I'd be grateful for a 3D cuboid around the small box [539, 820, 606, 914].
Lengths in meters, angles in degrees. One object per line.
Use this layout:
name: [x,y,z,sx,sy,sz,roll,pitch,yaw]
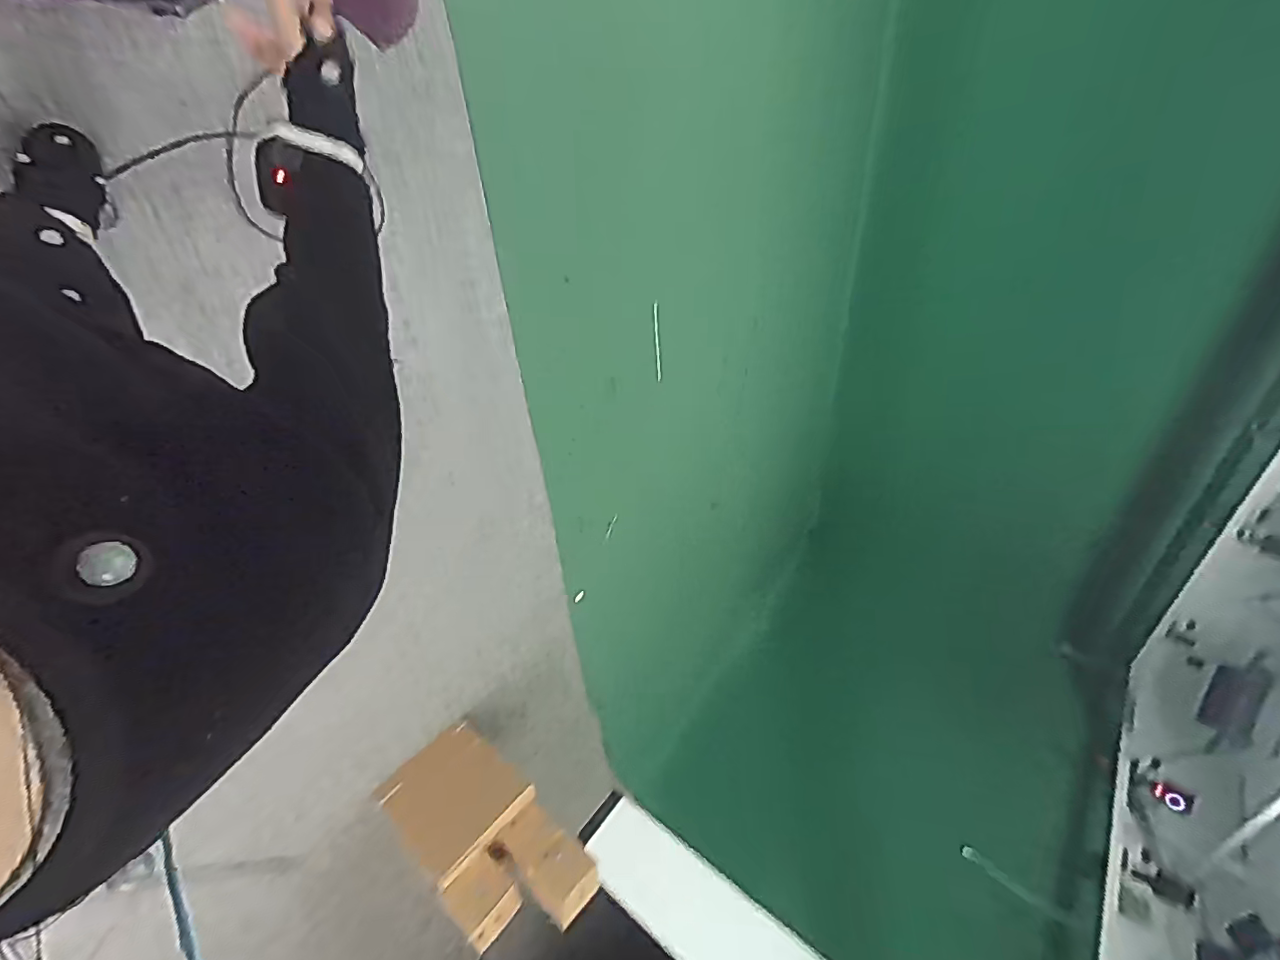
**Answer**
small box: [-0.236,1.345,1.889,0.168,0.176,0.179,-27,129,-43]
